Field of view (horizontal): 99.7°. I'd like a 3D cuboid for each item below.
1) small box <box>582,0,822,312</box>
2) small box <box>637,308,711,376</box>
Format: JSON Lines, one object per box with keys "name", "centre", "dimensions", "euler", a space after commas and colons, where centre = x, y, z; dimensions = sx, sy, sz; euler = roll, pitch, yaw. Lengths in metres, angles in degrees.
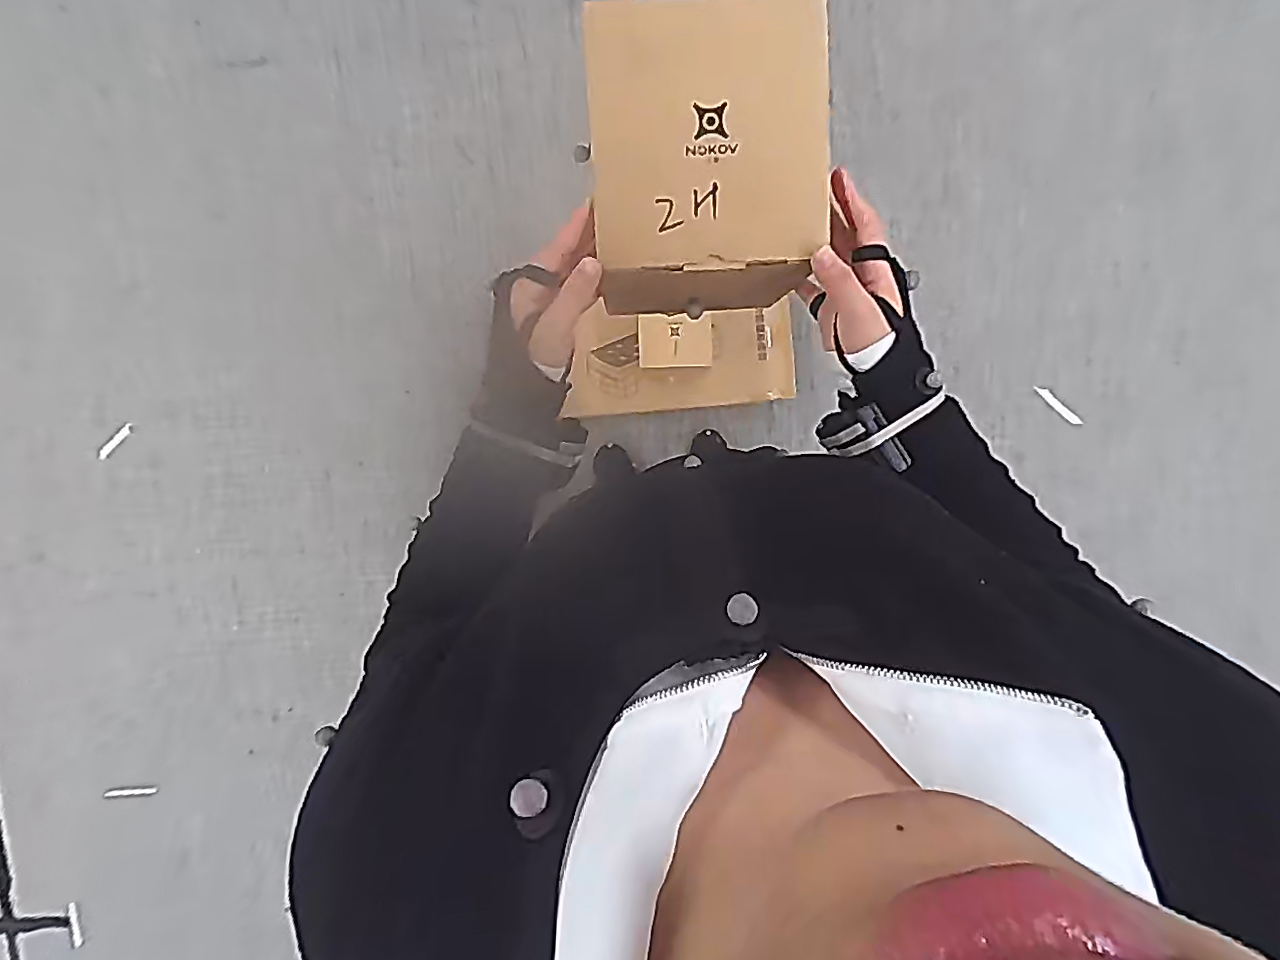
{"name": "small box", "centre": [0.042, -0.249, 0.452], "dimensions": [0.168, 0.176, 0.179], "euler": [-3, 97, 0]}
{"name": "small box", "centre": [0.077, -0.348, 1.294], "dimensions": [0.168, 0.176, 0.179], "euler": [-1, 94, 1]}
